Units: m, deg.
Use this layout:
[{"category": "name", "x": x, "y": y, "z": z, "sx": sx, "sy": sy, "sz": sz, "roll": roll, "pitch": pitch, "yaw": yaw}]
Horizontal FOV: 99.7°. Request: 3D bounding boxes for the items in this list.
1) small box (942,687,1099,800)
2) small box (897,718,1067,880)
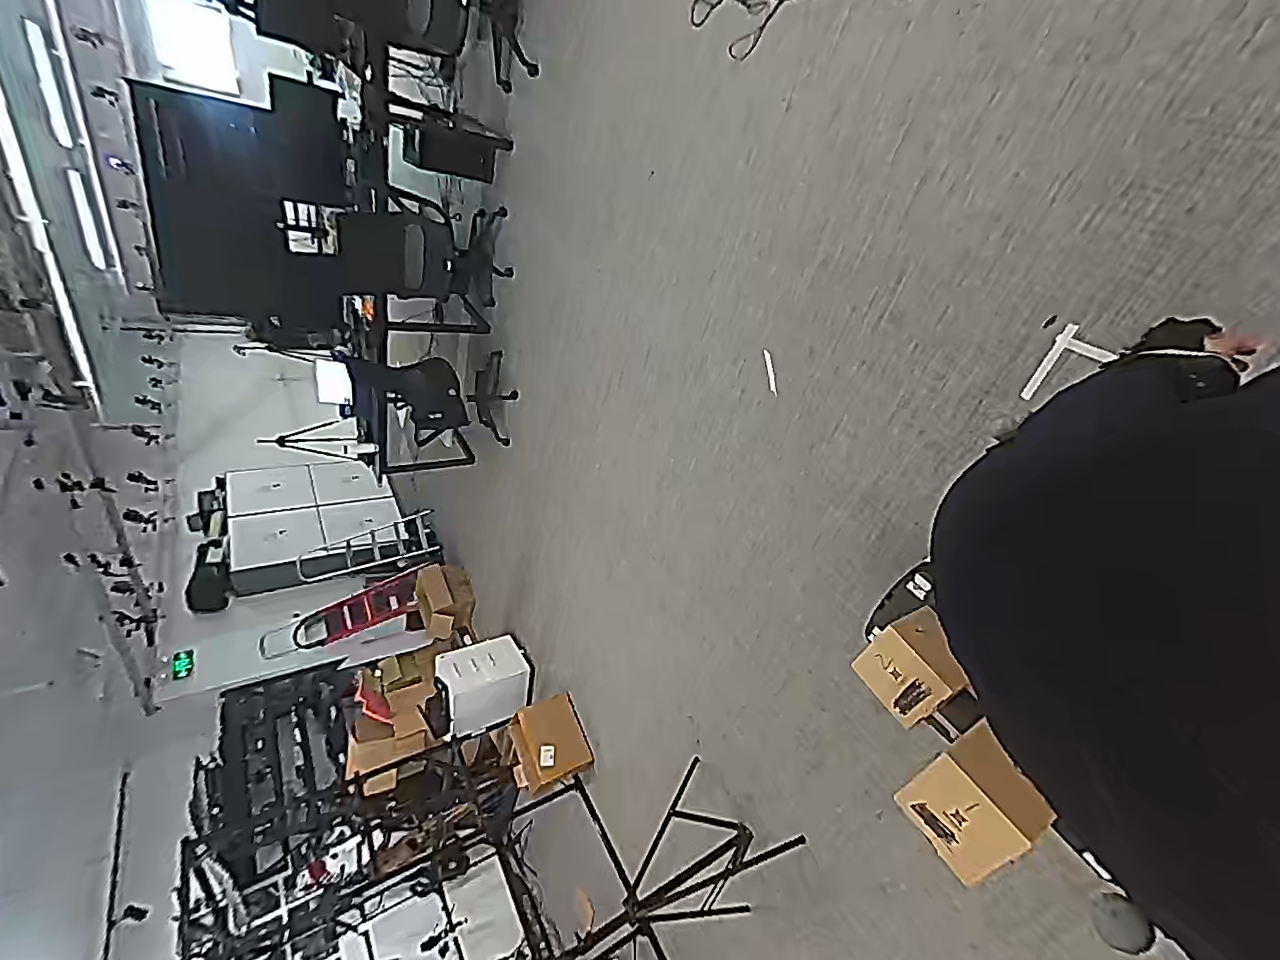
[{"category": "small box", "x": 0.755, "y": 0.548, "z": 1.075, "sx": 0.168, "sy": 0.176, "sz": 0.179, "roll": 50, "pitch": 135, "yaw": 36}, {"category": "small box", "x": 0.621, "y": 0.572, "z": 0.983, "sx": 0.168, "sy": 0.176, "sz": 0.179, "roll": 50, "pitch": 135, "yaw": 37}]
